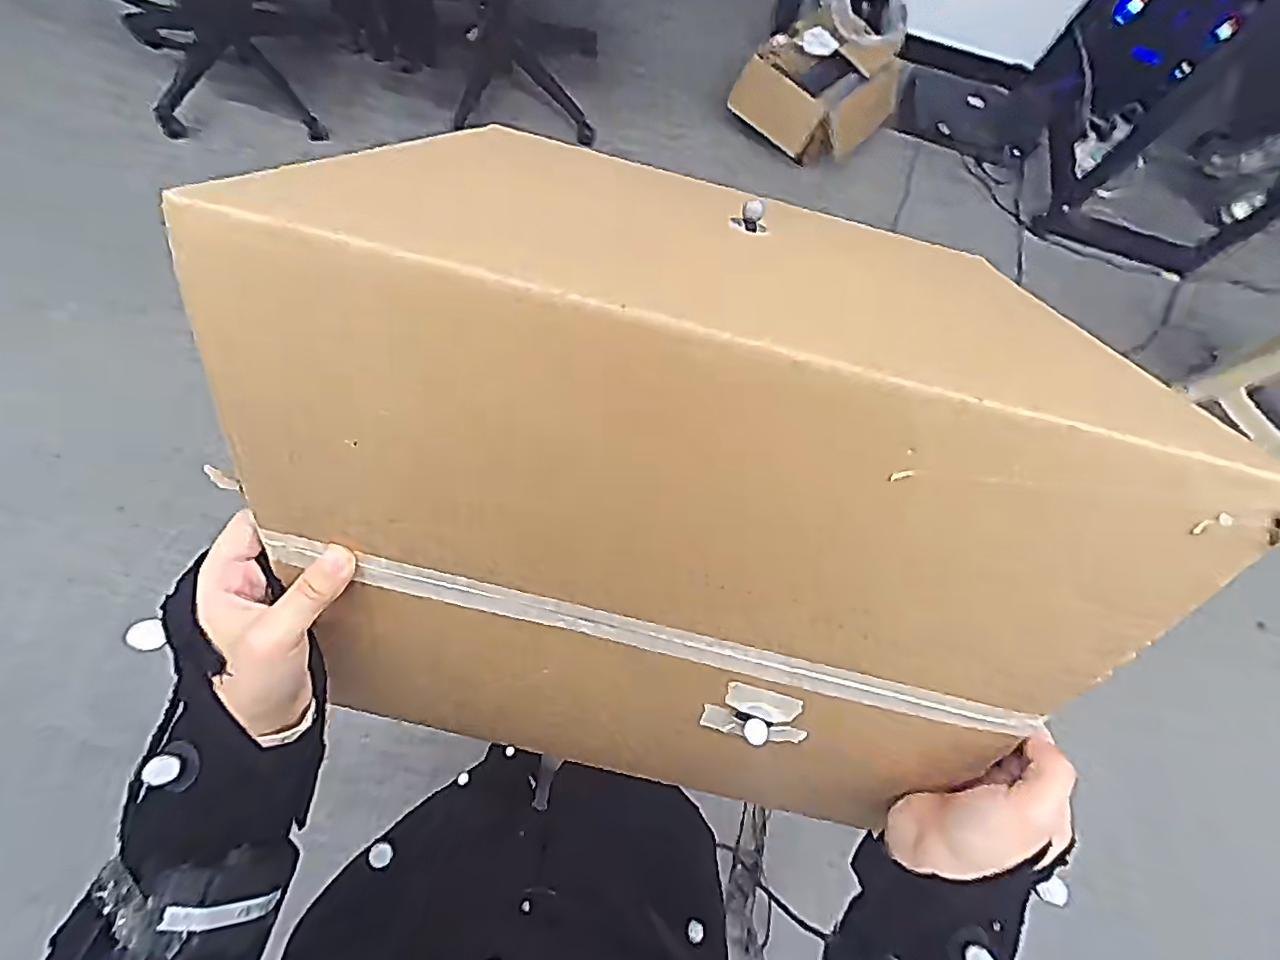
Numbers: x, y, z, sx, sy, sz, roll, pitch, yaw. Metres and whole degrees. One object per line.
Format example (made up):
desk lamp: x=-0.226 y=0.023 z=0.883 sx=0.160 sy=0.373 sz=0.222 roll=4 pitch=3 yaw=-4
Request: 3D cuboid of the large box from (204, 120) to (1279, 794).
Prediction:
large box: x=0.035 y=-0.035 z=0.389 sx=0.408 sy=0.320 sz=0.320 roll=13 pitch=38 yaw=-2
